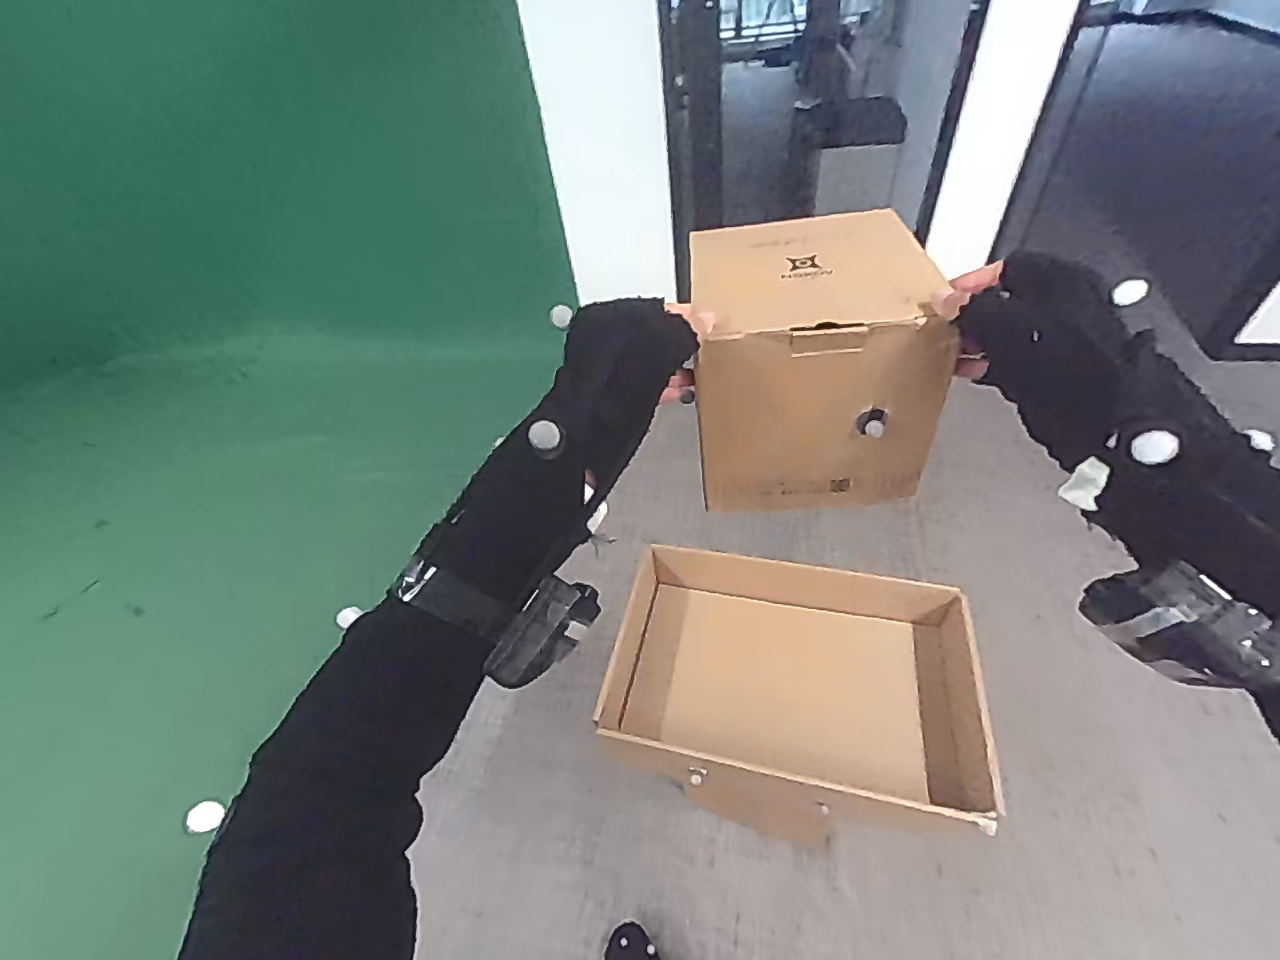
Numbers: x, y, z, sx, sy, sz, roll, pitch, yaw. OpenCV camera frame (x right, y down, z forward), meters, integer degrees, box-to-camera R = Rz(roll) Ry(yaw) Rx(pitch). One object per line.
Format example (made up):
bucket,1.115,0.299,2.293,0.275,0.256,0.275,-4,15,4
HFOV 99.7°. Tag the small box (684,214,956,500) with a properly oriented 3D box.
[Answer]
small box,0.124,-0.095,0.444,0.168,0.176,0.179,-3,43,6
